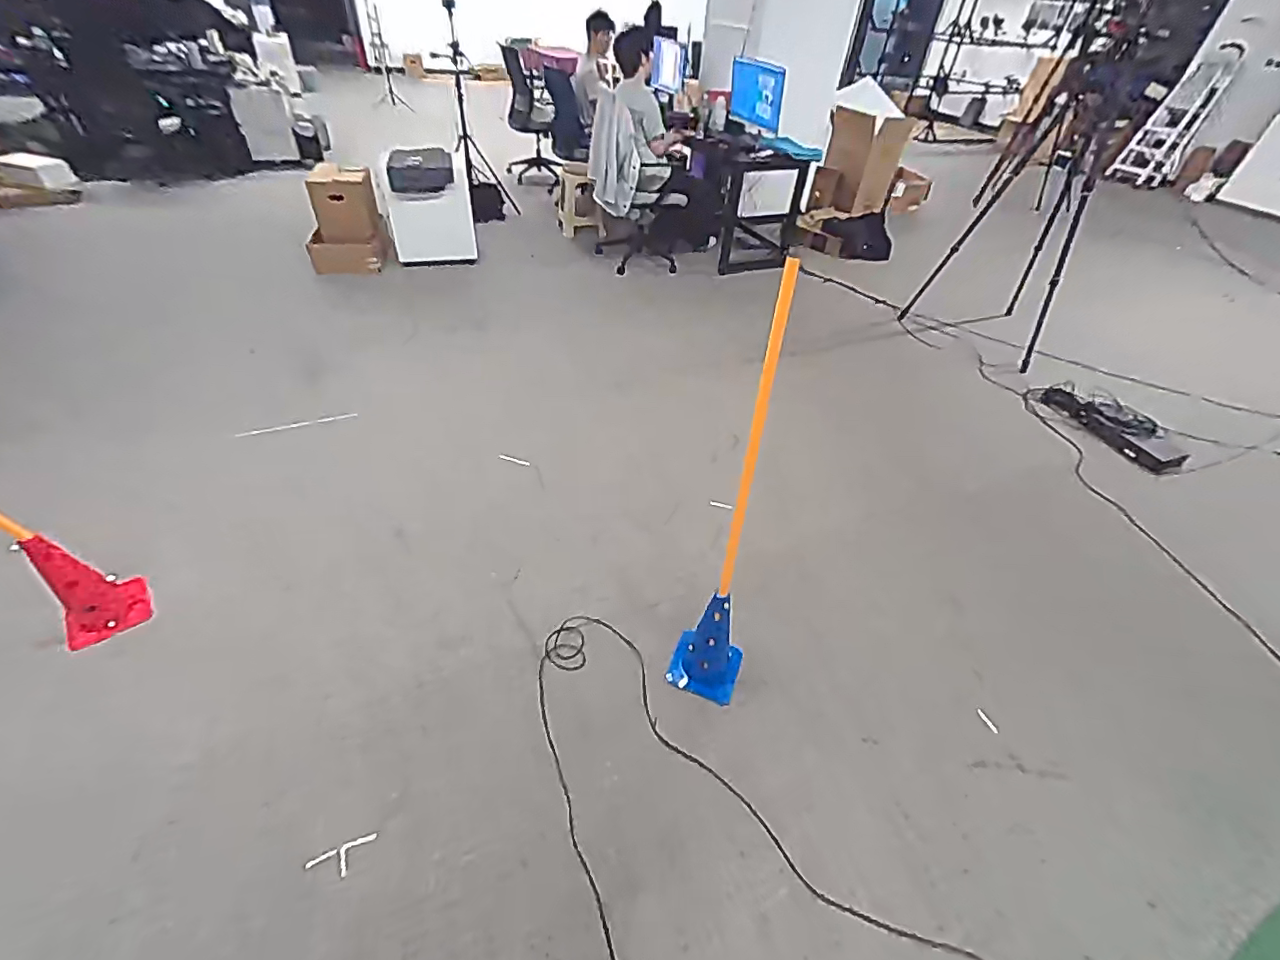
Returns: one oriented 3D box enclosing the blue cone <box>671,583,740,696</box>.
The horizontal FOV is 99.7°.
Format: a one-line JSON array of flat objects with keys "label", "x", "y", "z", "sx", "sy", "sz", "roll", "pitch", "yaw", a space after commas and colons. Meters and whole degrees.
[{"label": "blue cone", "x": 0.211, "y": 0.424, "z": 1.534, "sx": 0.192, "sy": 0.380, "sz": 0.193, "roll": 16, "pitch": 41, "yaw": 13}]
